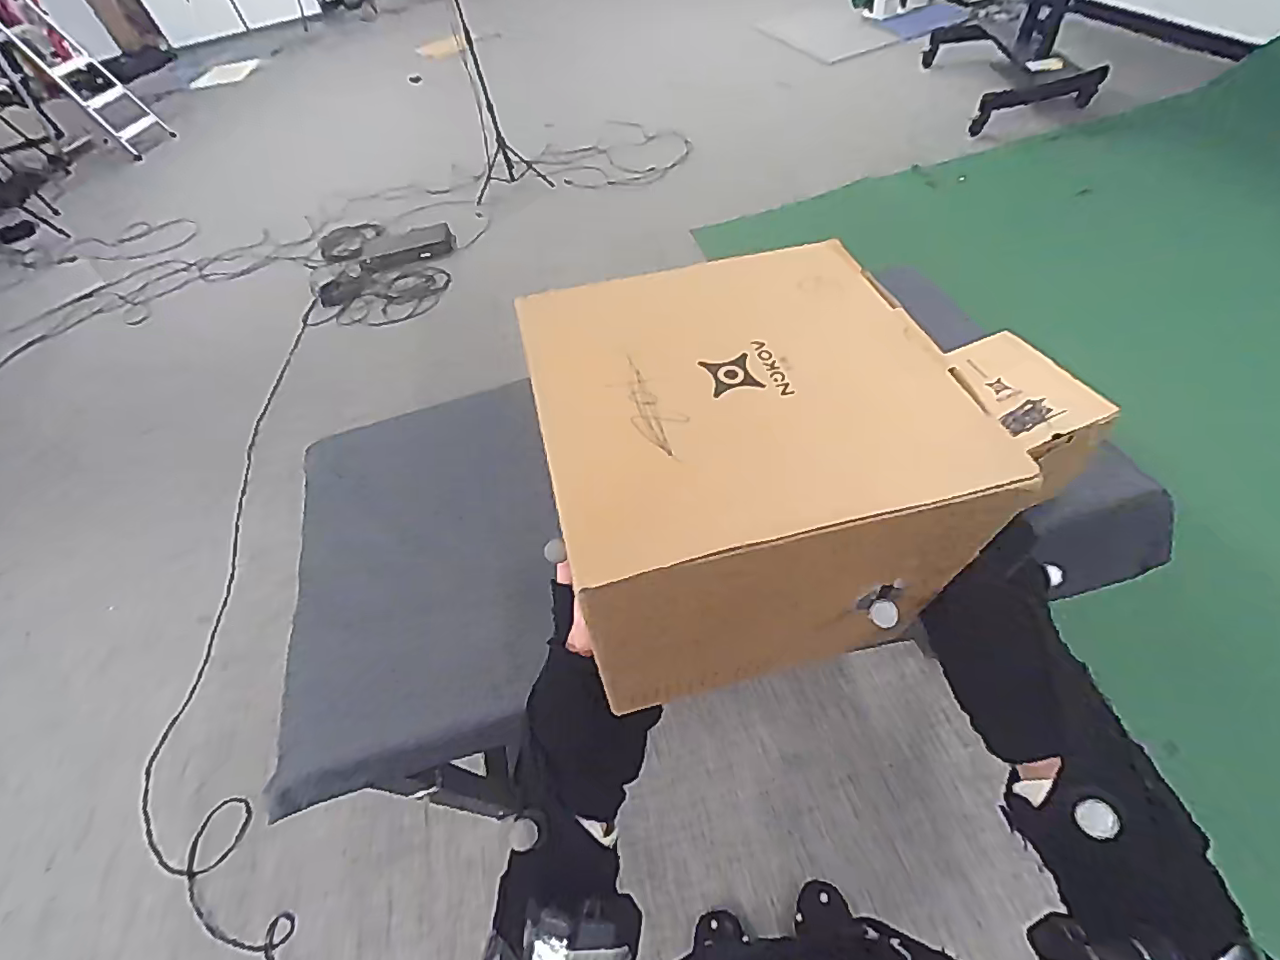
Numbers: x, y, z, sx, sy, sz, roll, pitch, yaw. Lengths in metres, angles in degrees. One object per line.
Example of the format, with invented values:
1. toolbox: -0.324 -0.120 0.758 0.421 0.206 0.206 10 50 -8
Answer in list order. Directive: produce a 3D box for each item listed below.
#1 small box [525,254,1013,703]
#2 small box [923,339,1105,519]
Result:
1. small box: 0.046 0.005 0.307 0.179 0.176 0.168 -14 53 -7
2. small box: 0.453 -0.053 0.736 0.168 0.176 0.179 -21 51 -5
